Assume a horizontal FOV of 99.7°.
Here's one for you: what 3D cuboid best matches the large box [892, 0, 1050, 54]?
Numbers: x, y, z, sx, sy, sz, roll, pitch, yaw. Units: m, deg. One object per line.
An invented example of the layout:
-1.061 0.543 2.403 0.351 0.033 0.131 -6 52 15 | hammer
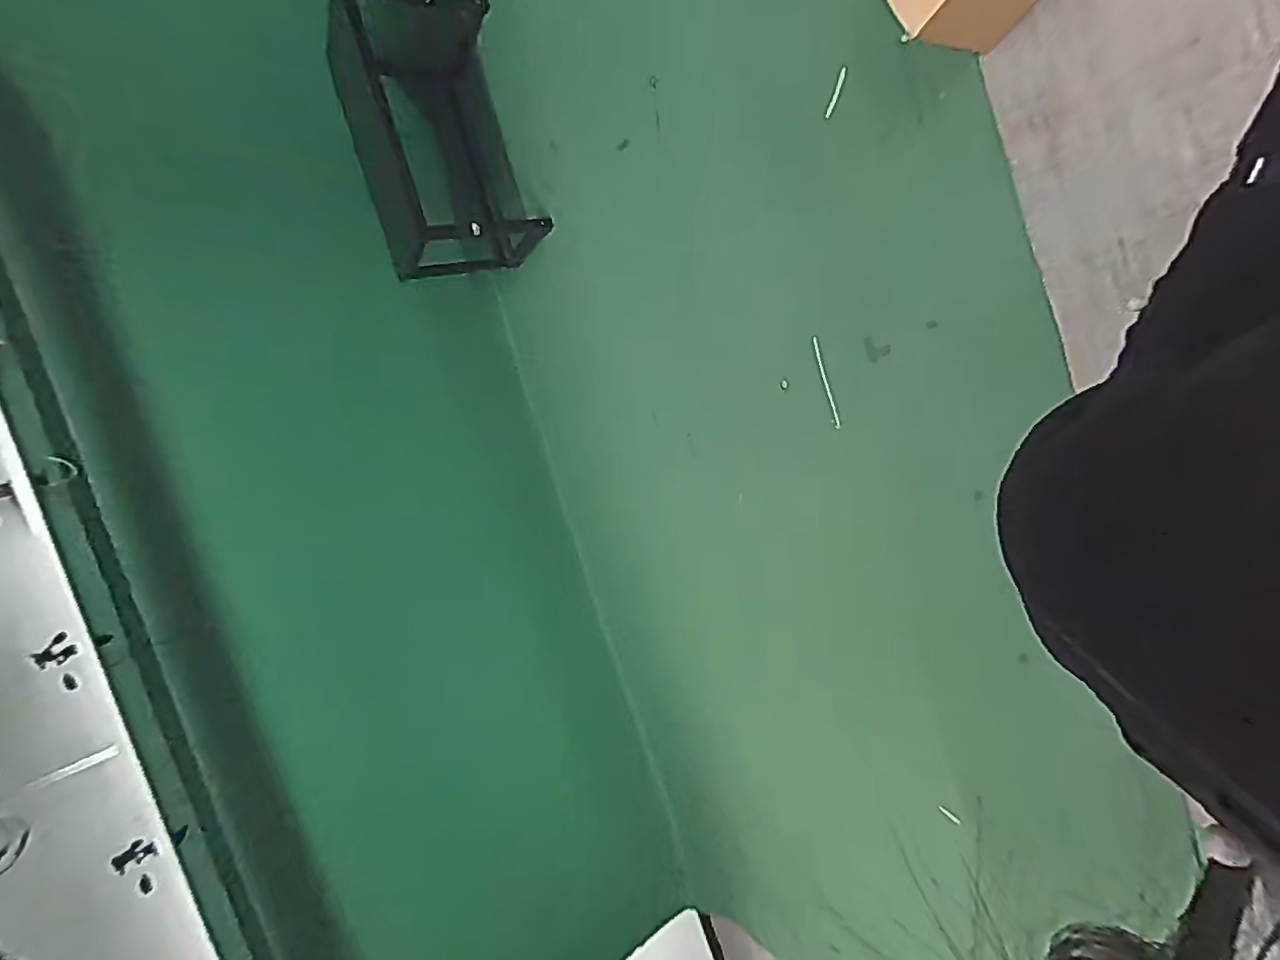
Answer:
0.695 -1.109 0.998 0.320 0.320 0.408 66 151 10 | large box
